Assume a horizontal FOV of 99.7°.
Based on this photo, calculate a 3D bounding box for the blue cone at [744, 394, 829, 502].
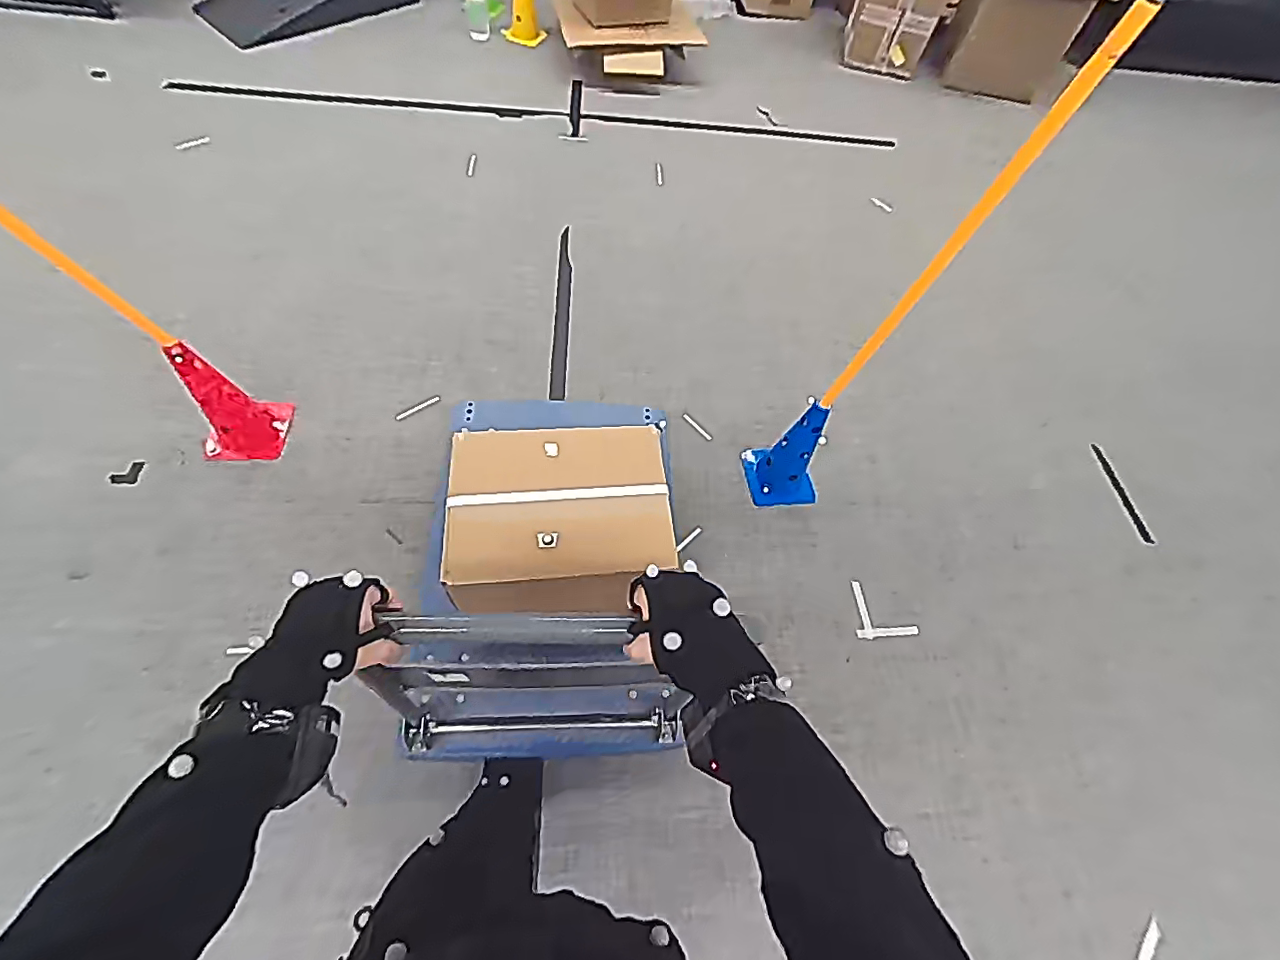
[{"bbox_3d":[0.442,-0.100,1.511,0.193,0.380,0.192,-2,60,-8],"label":"blue cone"}]
